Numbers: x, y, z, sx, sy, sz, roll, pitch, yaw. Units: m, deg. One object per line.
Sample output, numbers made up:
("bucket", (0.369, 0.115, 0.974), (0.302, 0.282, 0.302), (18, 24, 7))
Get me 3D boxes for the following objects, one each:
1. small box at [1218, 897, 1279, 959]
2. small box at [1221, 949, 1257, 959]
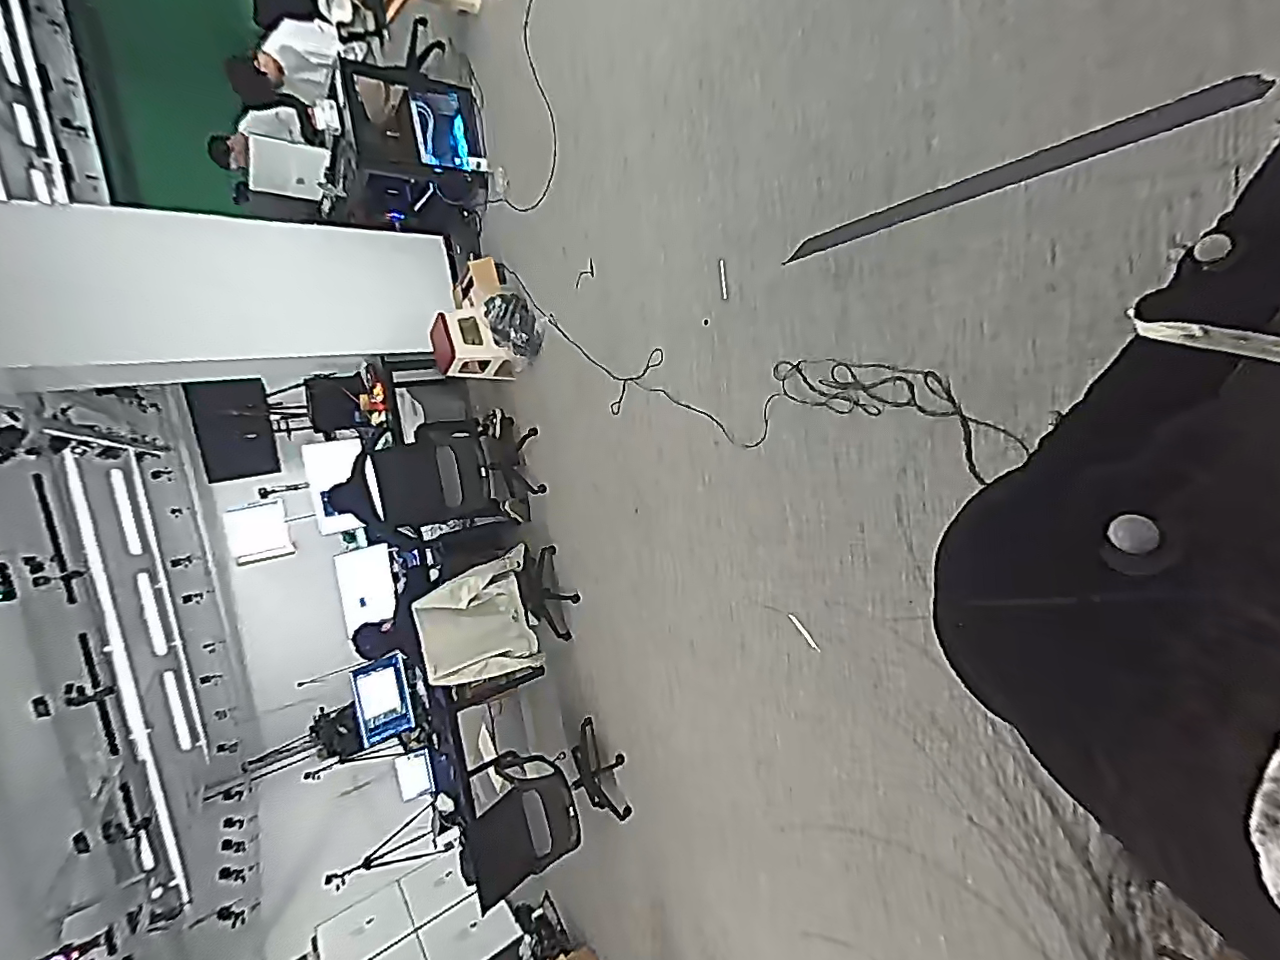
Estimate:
("small box", (1.272, 0.974, 1.060), (0.179, 0.176, 0.168), (10, 108, 52))
("small box", (1.144, 1.011, 0.963), (0.179, 0.176, 0.168), (14, 111, 51))
